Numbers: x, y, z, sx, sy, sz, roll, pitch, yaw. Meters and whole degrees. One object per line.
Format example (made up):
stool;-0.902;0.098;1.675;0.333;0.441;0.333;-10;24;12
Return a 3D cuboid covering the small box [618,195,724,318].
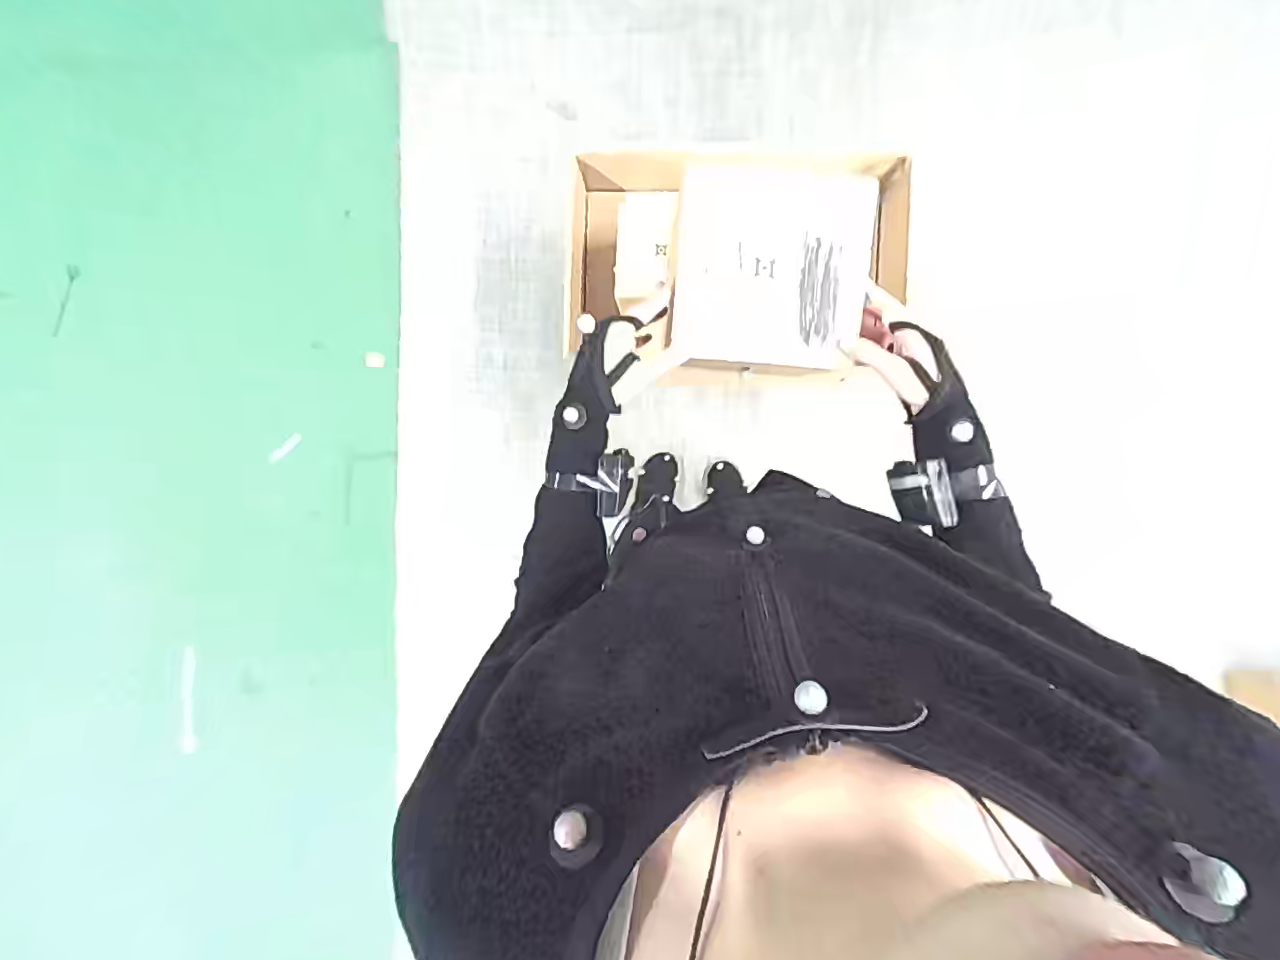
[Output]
small box;0.058;-0.407;1.008;0.179;0.176;0.168;3;92;4

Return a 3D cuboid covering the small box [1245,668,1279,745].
small box;1.661;0.575;1.330;0.168;0.176;0.179;-1;91;5
